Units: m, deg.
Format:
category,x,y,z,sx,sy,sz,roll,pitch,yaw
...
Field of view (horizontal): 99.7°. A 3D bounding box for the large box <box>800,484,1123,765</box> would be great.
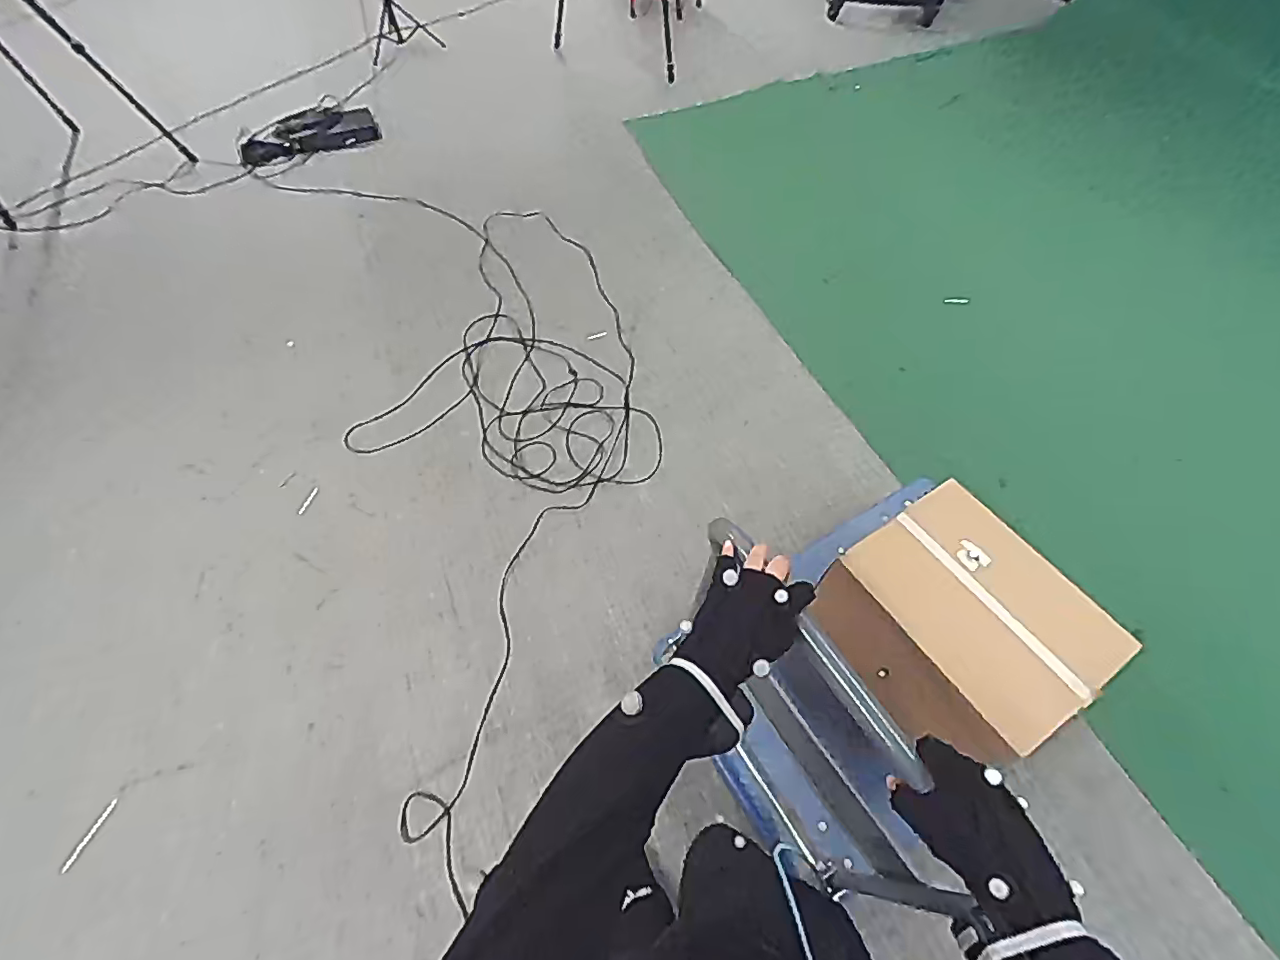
category,x,y,z,sx,sy,sz,roll,pitch,yaw
large box,0.601,0.295,1.099,0.320,0.320,0.408,-30,62,-16
